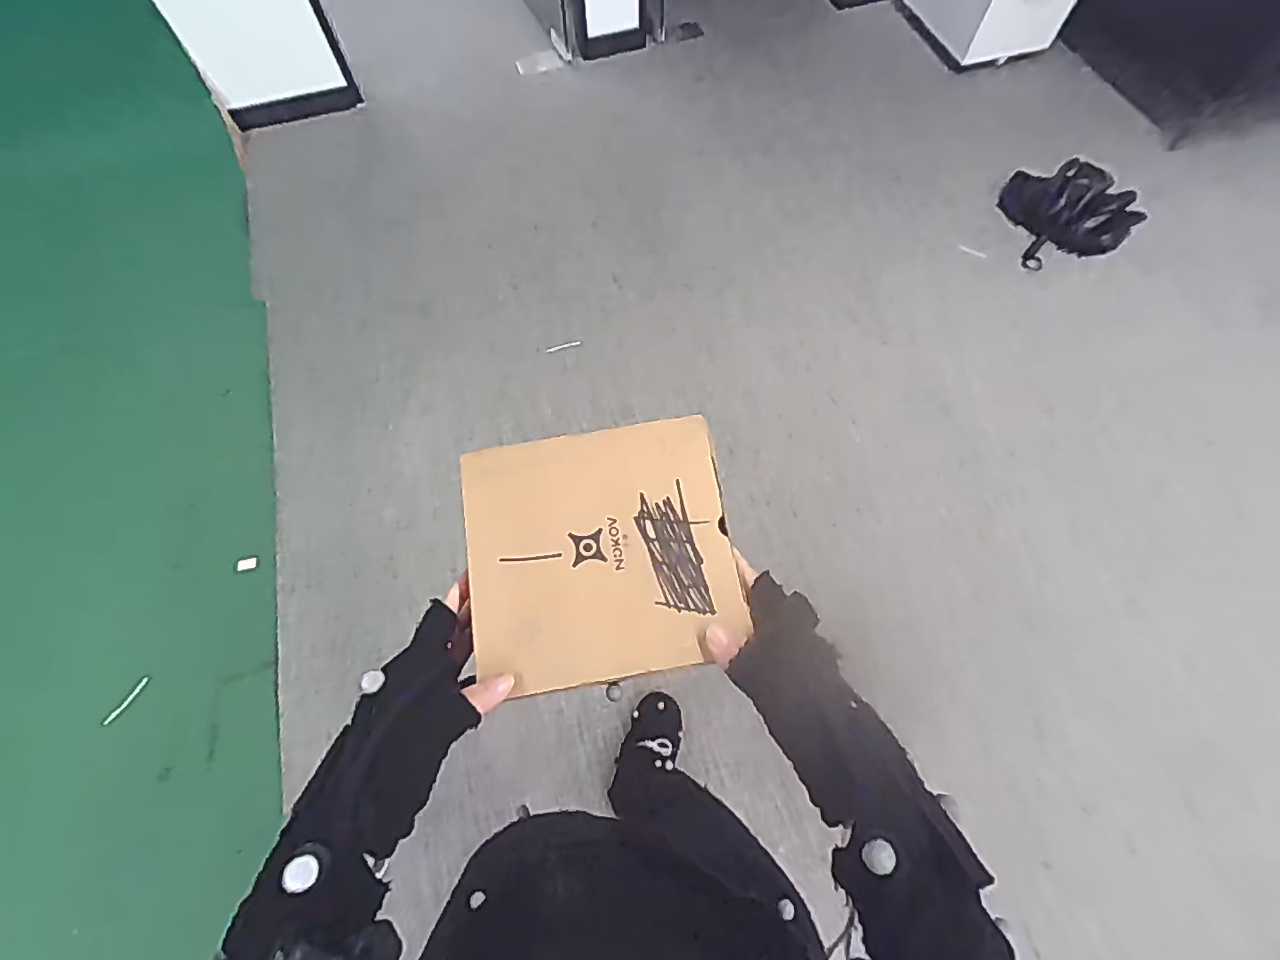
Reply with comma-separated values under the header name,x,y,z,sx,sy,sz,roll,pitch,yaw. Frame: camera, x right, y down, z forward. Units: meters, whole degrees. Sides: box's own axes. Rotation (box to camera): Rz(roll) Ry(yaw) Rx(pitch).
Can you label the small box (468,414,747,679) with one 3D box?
name,x,y,z,sx,sy,sz,roll,pitch,yaw
small box,-0.028,0.063,0.435,0.179,0.176,0.168,-6,70,-2
